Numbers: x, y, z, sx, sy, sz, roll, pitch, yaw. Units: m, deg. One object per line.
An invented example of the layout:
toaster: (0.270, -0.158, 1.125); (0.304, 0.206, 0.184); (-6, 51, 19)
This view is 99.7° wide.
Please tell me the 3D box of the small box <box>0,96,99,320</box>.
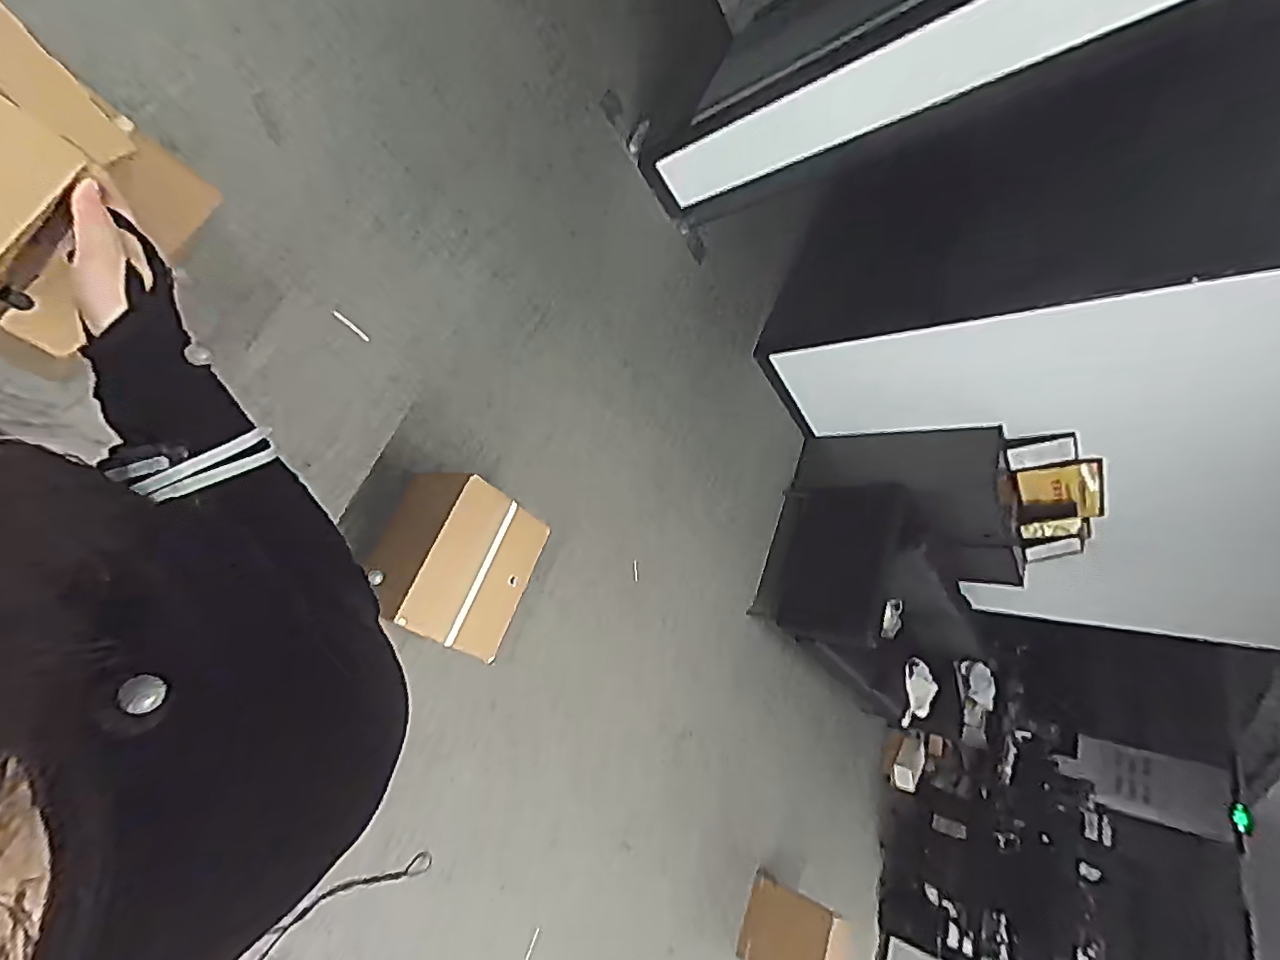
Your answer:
small box: (-0.478, -0.174, 0.314); (0.179, 0.176, 0.168); (39, 66, -42)

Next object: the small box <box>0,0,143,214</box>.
small box: (-0.762, -0.417, 0.646); (0.179, 0.176, 0.168); (-55, 127, -31)

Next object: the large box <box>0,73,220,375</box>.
large box: (-1.046, -0.448, 0.937); (0.320, 0.320, 0.408); (43, 59, -40)

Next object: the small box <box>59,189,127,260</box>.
small box: (-0.884, -0.407, 0.753); (0.168, 0.176, 0.179); (54, 53, -34)
